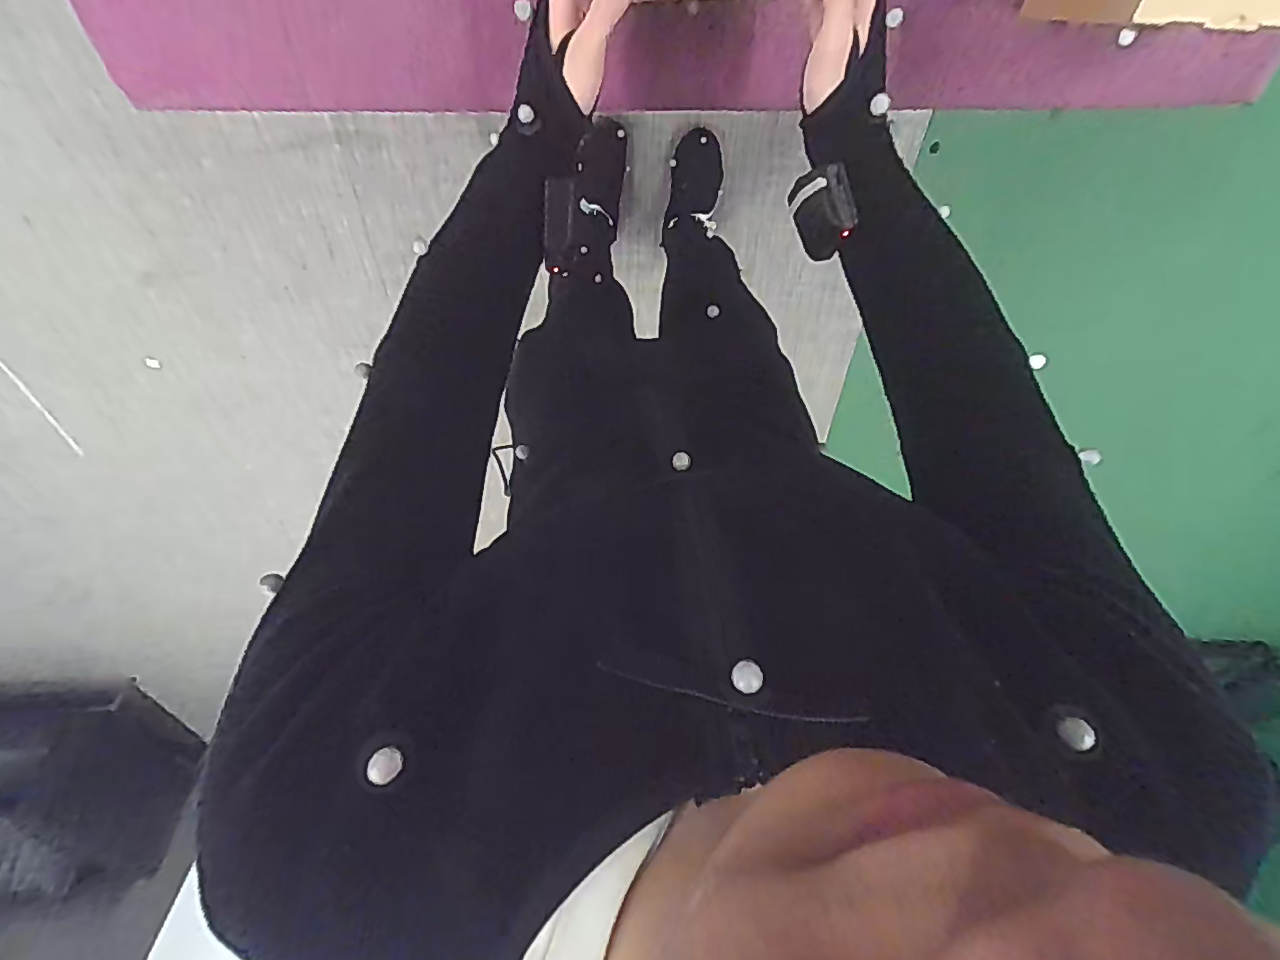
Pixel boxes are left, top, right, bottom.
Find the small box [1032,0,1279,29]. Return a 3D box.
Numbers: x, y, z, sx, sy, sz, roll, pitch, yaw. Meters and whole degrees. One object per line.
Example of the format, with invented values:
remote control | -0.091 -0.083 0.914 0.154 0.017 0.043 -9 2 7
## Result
small box | 0.458 -0.471 0.419 0.168 0.176 0.179 2 132 -2
